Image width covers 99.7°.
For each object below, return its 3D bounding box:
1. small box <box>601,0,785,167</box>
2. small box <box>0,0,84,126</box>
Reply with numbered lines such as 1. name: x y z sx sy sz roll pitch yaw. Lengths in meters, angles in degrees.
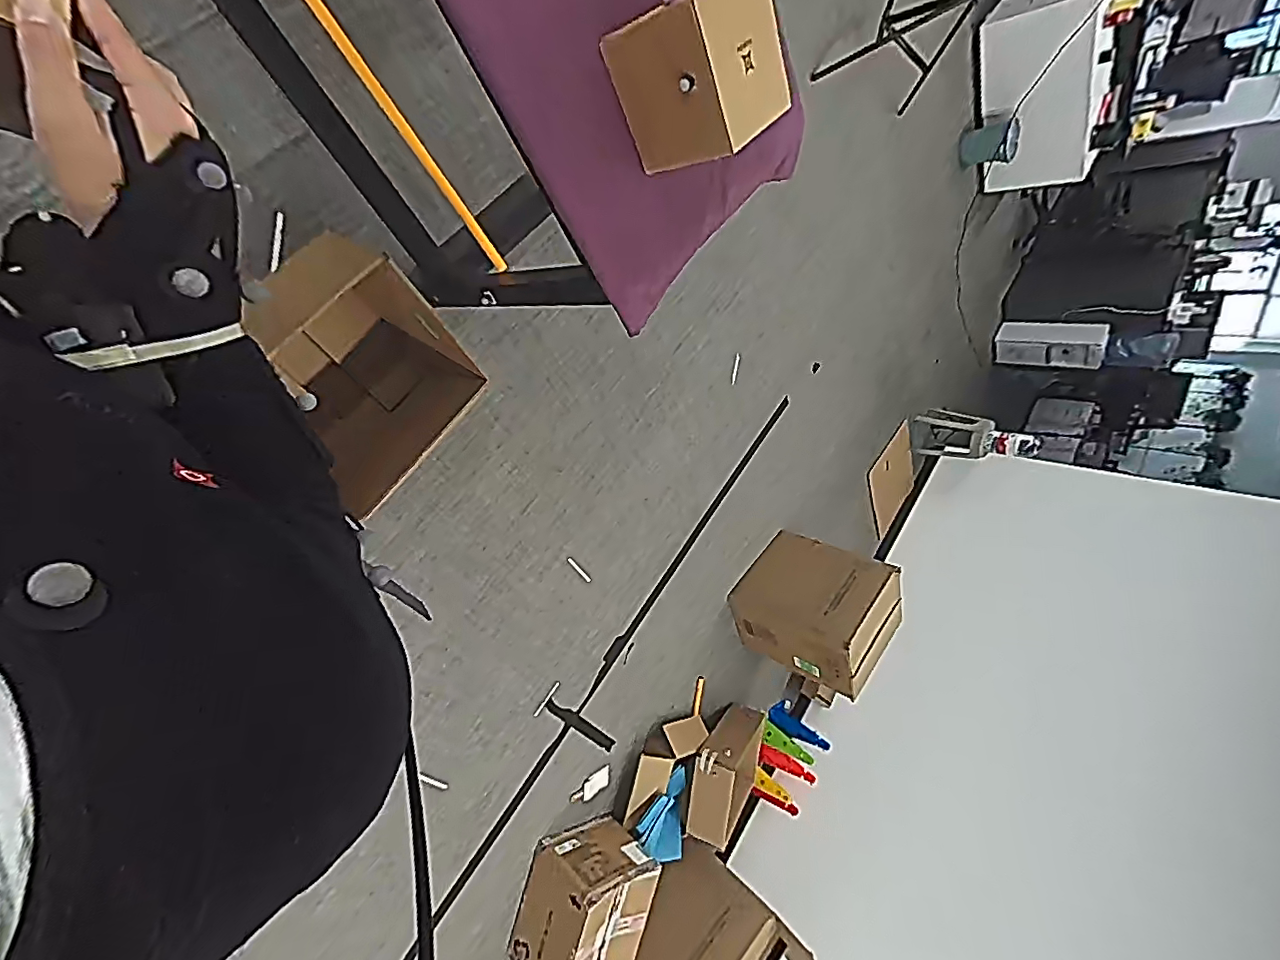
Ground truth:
1. small box: 0.077 -0.570 0.767 0.168 0.176 0.179 -49 132 -25
2. small box: -0.380 -0.304 0.240 0.168 0.176 0.179 -5 100 -51
